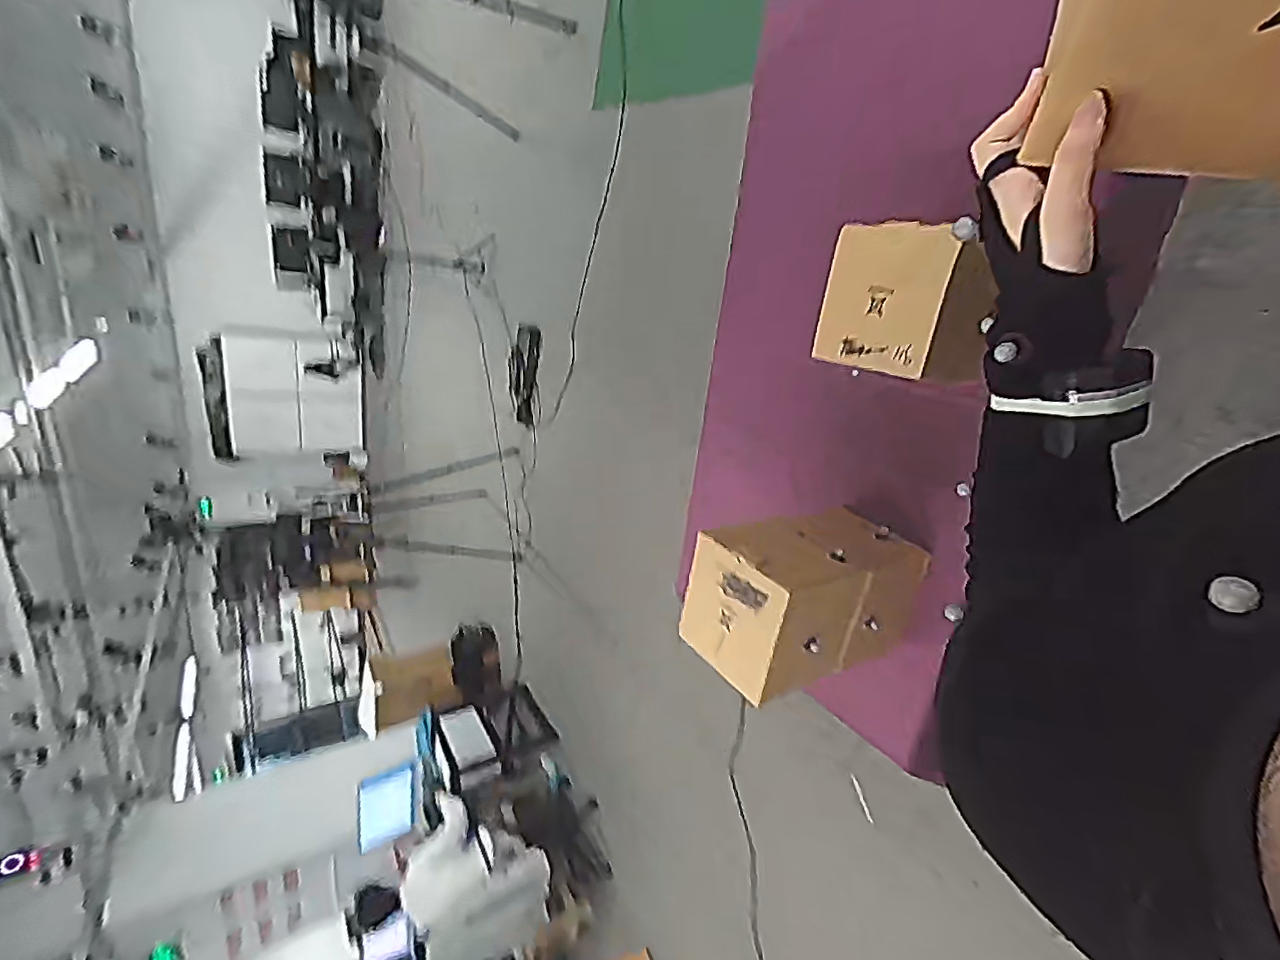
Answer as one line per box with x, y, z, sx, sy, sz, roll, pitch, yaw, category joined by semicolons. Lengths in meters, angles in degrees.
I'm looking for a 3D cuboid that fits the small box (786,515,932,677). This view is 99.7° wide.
0.324;0.171;0.853;0.168;0.176;0.179;32;119;48;small box

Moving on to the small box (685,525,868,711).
0.190;0.177;0.758;0.168;0.176;0.179;32;120;48;small box

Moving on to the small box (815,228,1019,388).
0.374;-0.229;0.731;0.168;0.176;0.179;32;119;49;small box
